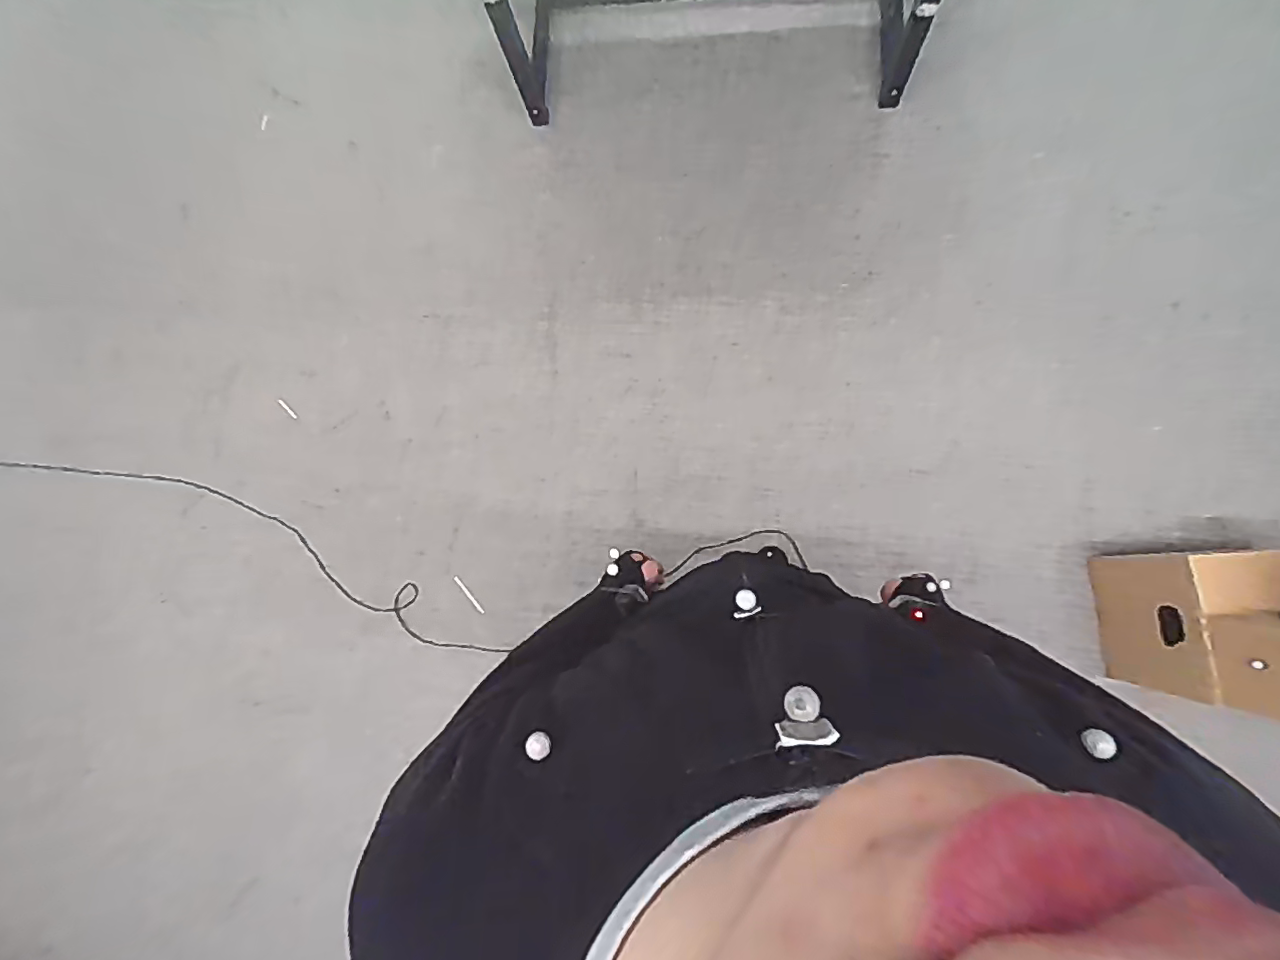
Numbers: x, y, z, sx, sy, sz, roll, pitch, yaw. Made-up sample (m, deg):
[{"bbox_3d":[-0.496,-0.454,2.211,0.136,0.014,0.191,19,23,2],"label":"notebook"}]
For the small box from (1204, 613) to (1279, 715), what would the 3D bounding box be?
[{"bbox_3d":[1.242,0.348,1.027,0.168,0.176,0.179,-5,82,6],"label":"small box"}]
